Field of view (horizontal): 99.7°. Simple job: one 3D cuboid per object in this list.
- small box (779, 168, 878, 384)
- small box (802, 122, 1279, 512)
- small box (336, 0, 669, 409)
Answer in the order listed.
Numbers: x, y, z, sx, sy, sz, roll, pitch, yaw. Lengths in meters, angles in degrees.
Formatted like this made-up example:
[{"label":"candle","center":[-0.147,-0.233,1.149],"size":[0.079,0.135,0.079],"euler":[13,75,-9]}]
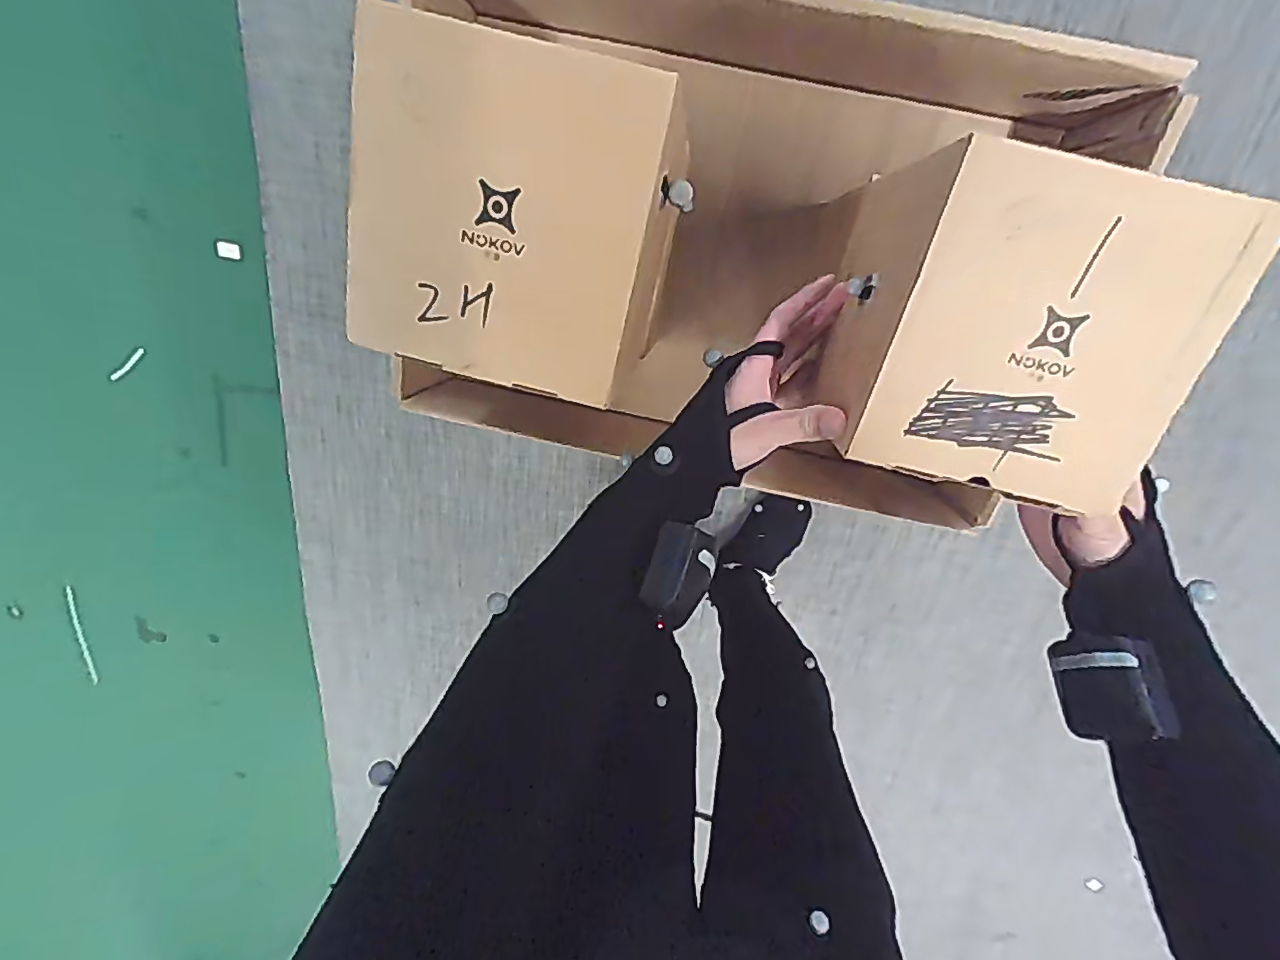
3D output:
[{"label":"small box","center":[0.241,-0.172,0.514],"size":[0.168,0.176,0.179],"euler":[12,113,1]},{"label":"small box","center":[0.220,-0.106,0.365],"size":[0.168,0.176,0.179],"euler":[13,112,0]},{"label":"small box","center":[-0.078,-0.168,0.371],"size":[0.168,0.176,0.179],"euler":[14,112,1]}]
